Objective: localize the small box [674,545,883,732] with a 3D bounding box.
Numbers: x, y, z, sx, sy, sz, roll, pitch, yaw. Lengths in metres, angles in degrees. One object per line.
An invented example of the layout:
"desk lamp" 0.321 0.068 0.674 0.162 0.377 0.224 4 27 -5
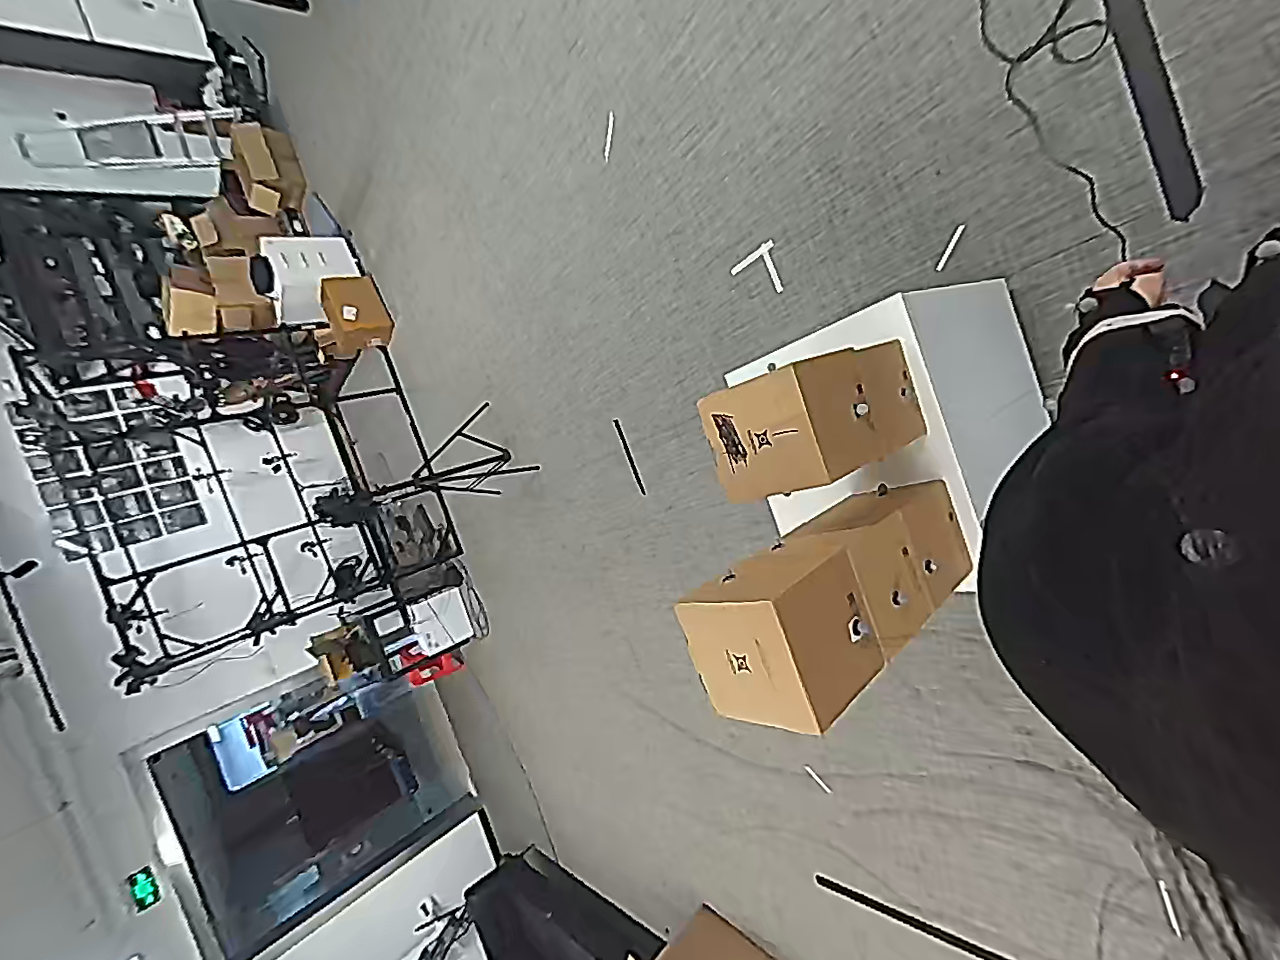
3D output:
"small box" 0.182 0.197 0.713 0.179 0.176 0.168 -20 92 51

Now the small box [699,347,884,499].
"small box" 0.222 -0.082 0.795 0.179 0.176 0.168 -15 96 50

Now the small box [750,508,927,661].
"small box" 0.303 0.152 0.812 0.179 0.176 0.168 -19 92 52

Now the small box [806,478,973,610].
"small box" 0.421 0.107 0.913 0.179 0.176 0.168 -17 94 53
